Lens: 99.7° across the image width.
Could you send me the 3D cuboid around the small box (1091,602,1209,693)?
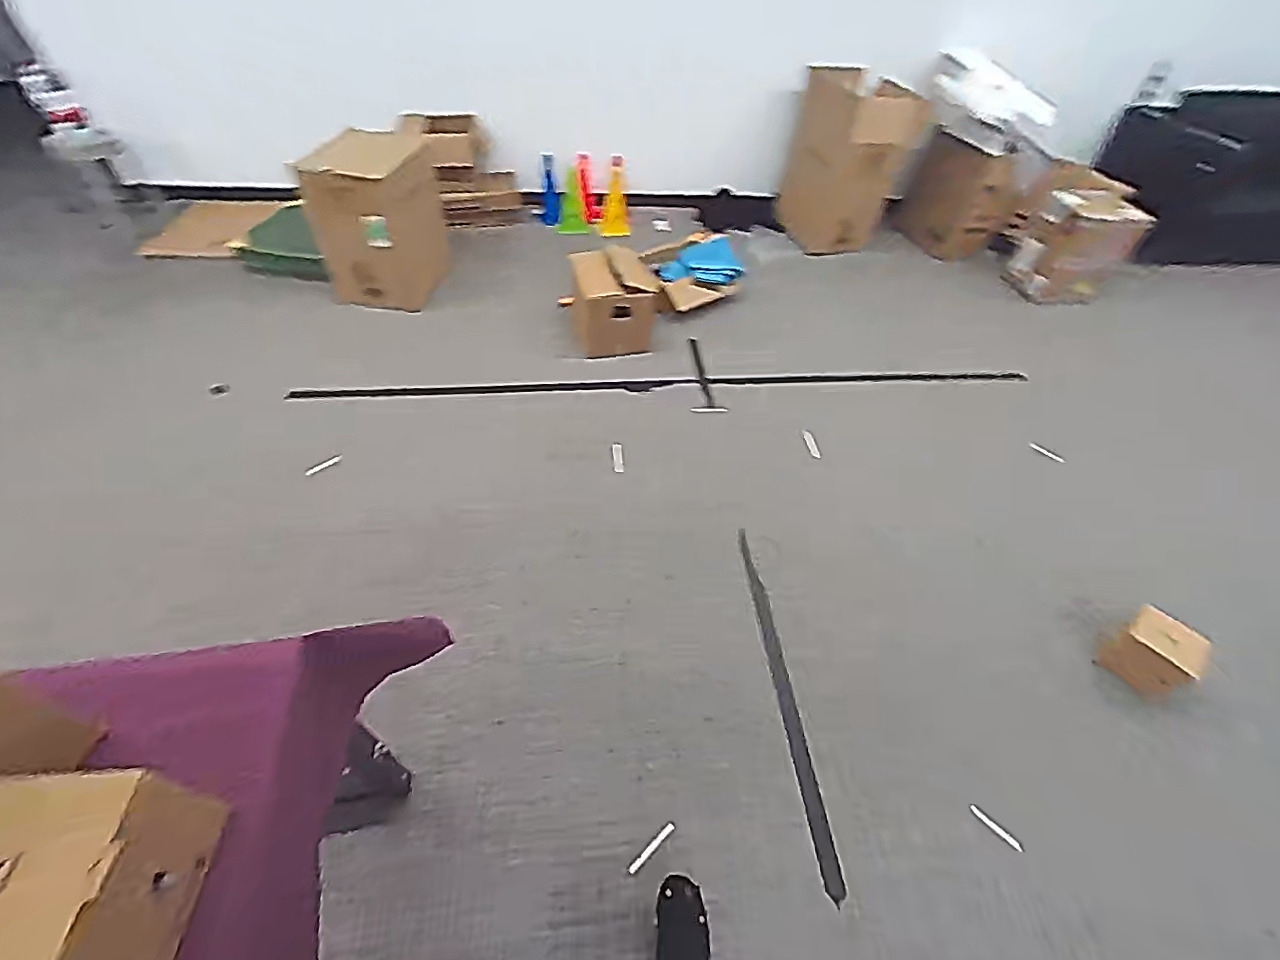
[{"bbox_3d":[1.505,0.504,1.602,0.168,0.176,0.179,-32,57,-30],"label":"small box"}]
